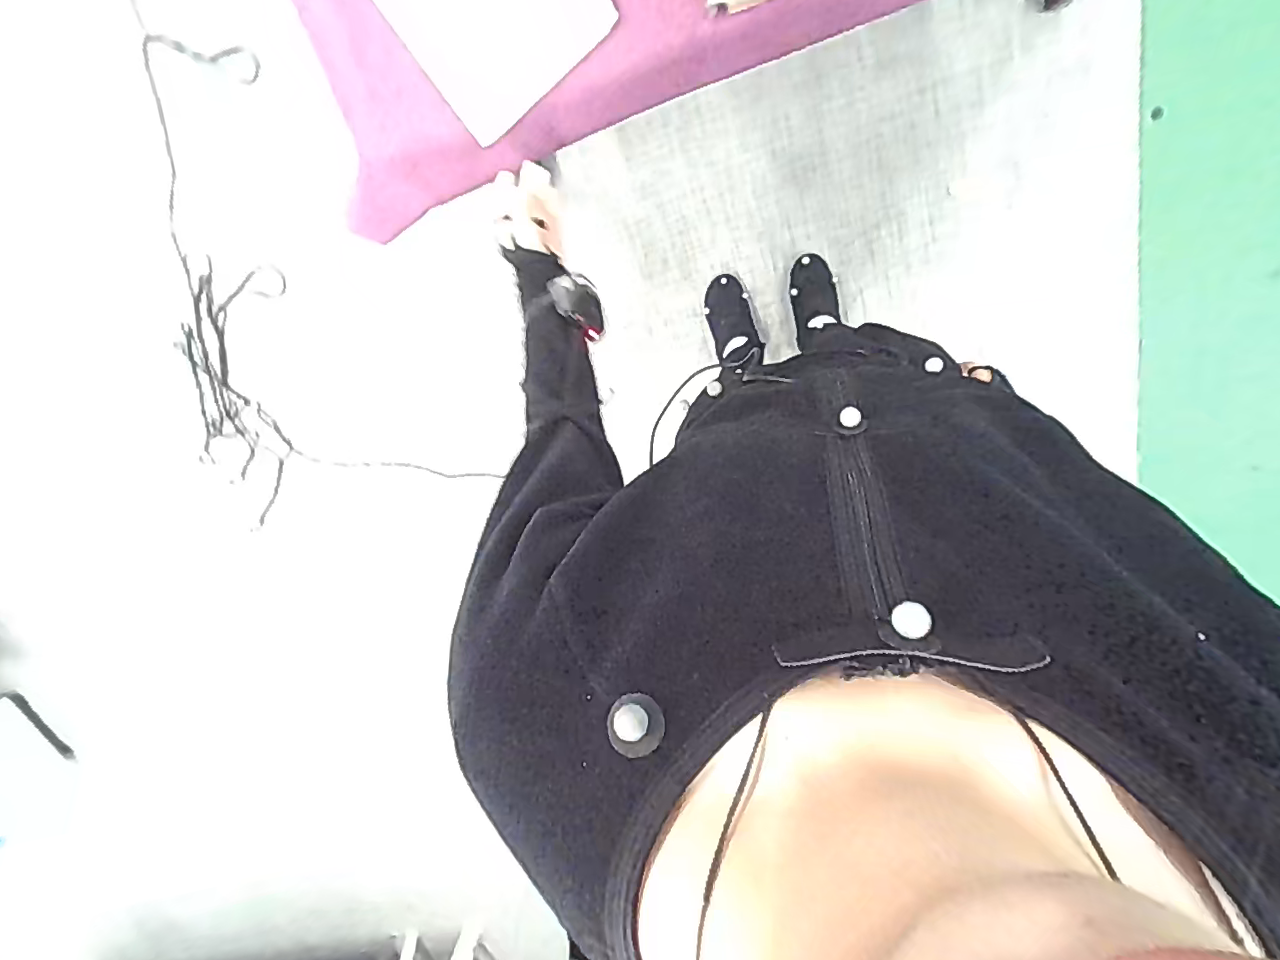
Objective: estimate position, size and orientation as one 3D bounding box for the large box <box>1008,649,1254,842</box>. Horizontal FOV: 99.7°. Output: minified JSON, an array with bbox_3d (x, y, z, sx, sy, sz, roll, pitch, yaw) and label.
[{"bbox_3d":[1.419,0.778,1.602,0.408,0.320,0.320,-29,108,15],"label":"large box"}]
